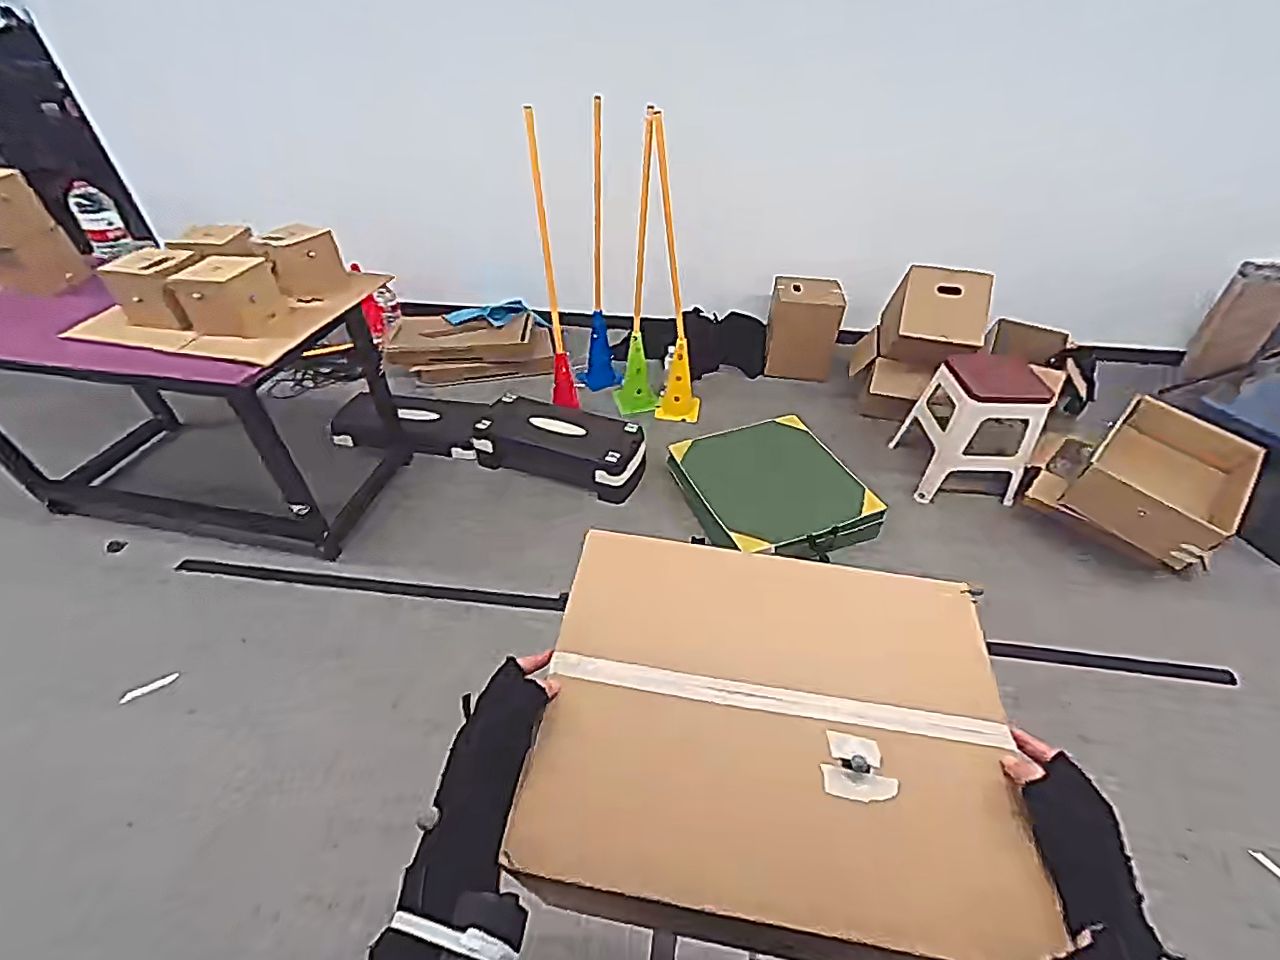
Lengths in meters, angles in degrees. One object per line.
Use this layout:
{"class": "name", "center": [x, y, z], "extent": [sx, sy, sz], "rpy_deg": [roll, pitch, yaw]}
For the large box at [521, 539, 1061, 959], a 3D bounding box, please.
{"class": "large box", "center": [0.120, 0.301, 0.603], "extent": [0.408, 0.320, 0.320], "rpy_deg": [8, 49, 5]}
